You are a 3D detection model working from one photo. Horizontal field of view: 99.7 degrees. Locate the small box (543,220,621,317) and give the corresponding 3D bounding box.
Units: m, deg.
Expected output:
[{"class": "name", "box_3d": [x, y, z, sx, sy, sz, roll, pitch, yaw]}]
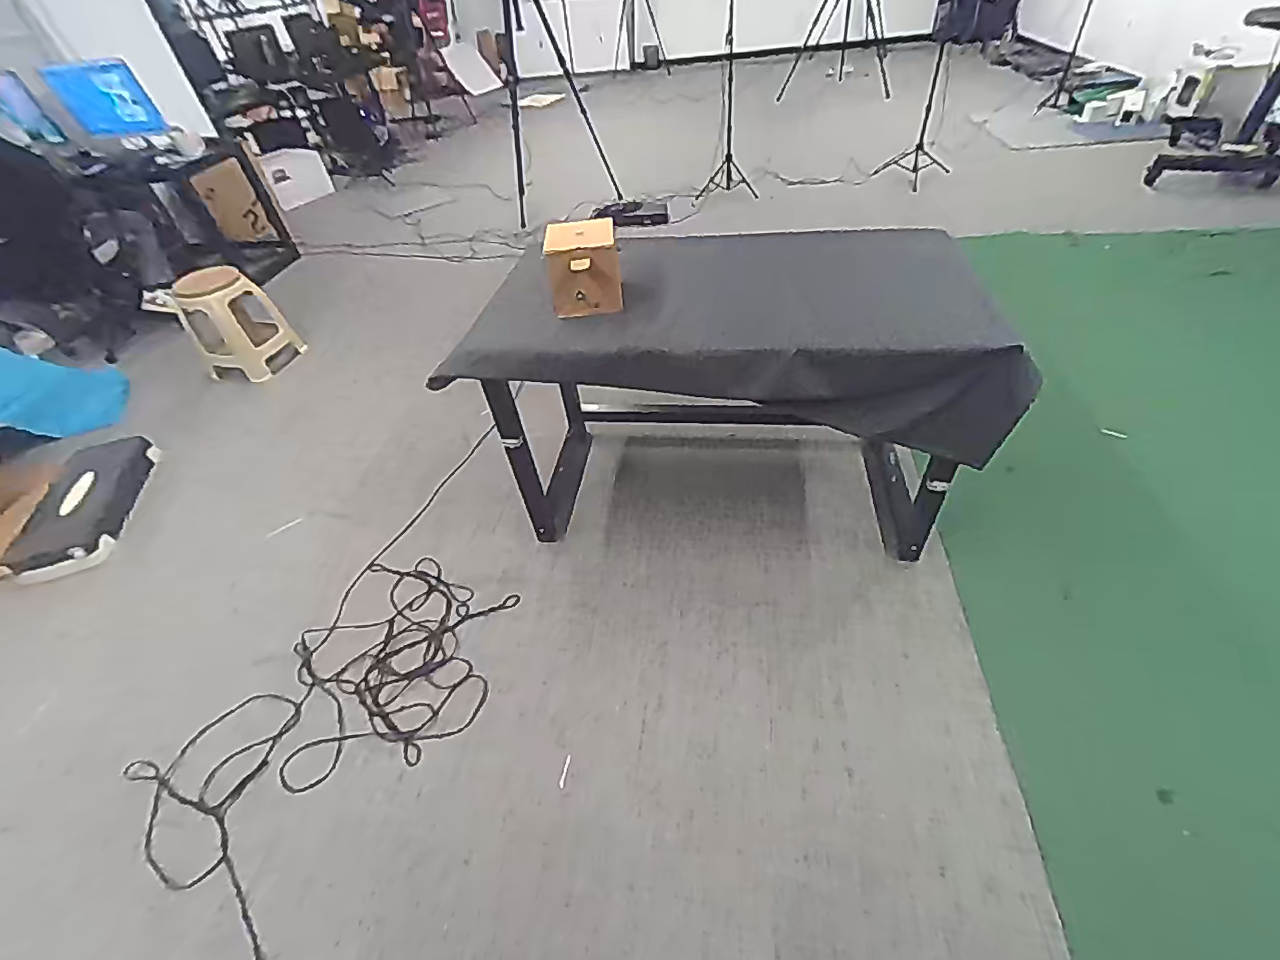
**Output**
[{"class": "small box", "box_3d": [-0.138, -0.523, 1.339, 0.168, 0.176, 0.179, -6, 45, 0]}]
